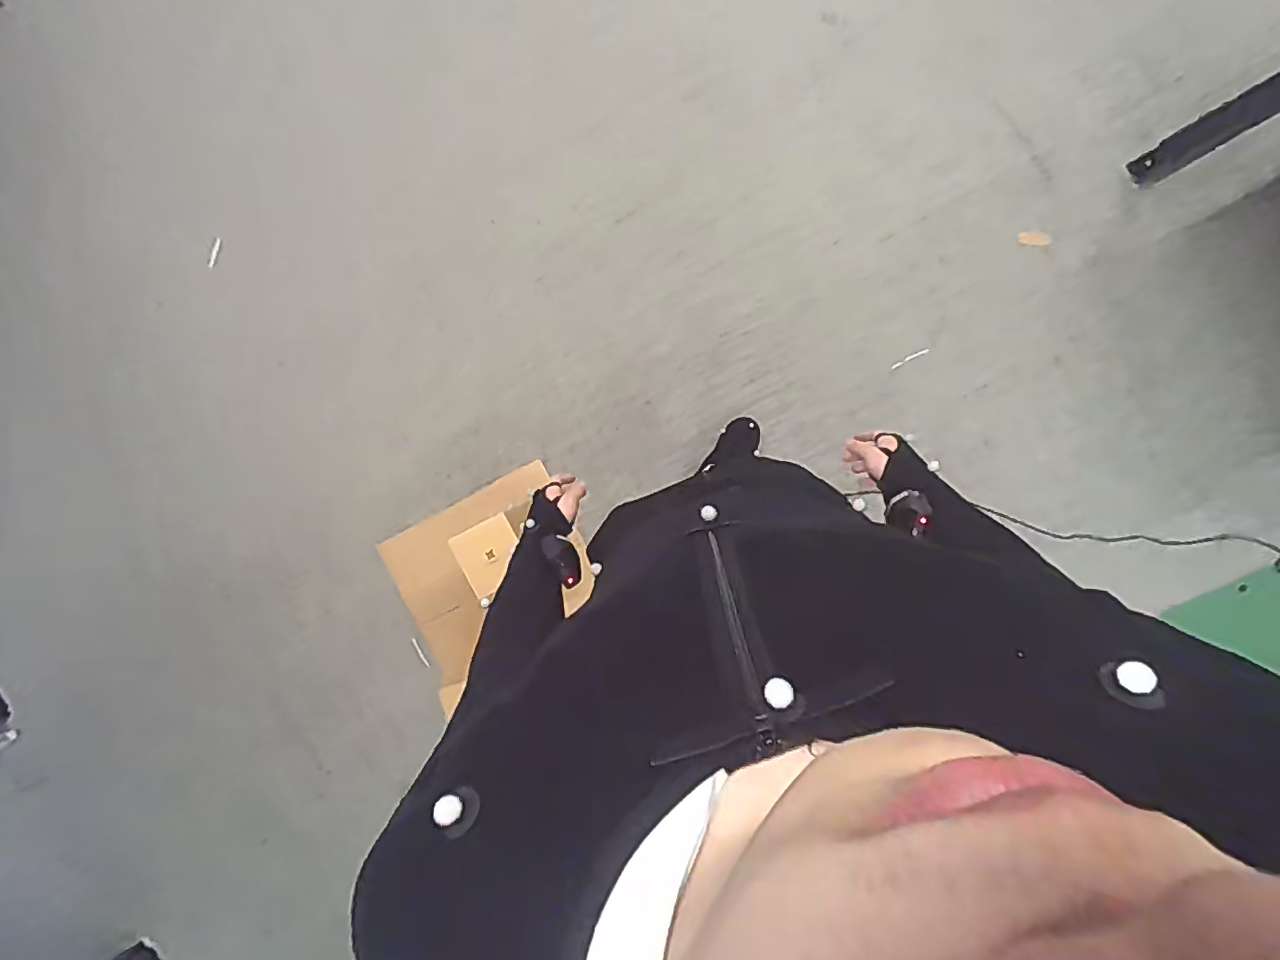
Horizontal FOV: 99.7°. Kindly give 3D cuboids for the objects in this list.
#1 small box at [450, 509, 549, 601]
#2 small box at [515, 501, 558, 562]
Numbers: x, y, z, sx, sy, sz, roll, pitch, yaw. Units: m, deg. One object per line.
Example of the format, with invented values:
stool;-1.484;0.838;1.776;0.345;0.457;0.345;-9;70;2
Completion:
small box;-0.363;0.187;1.427;0.168;0.176;0.179;-28;93;5
small box;-0.359;0.177;1.588;0.168;0.176;0.179;-27;92;5
